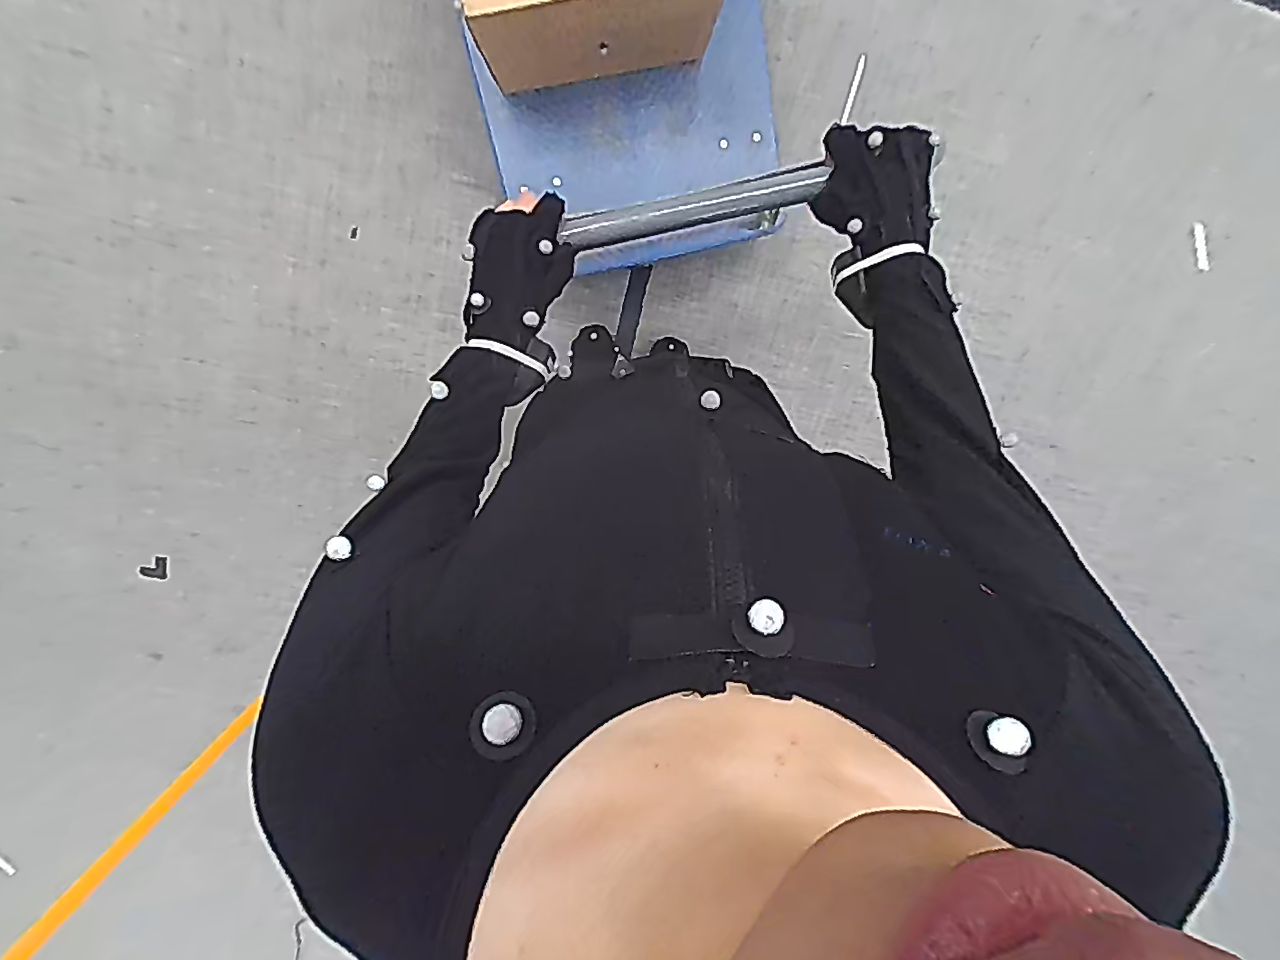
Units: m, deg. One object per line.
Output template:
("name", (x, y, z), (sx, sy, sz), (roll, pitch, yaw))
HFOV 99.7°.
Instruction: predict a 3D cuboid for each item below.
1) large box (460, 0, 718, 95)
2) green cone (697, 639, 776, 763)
("large box", (-0.096, -0.900, 0.892), (0.408, 0.320, 0.320), (-10, 108, 1))
("green cone", (0.308, 0.651, 1.541), (0.202, 0.368, 0.200), (15, 106, -9))
